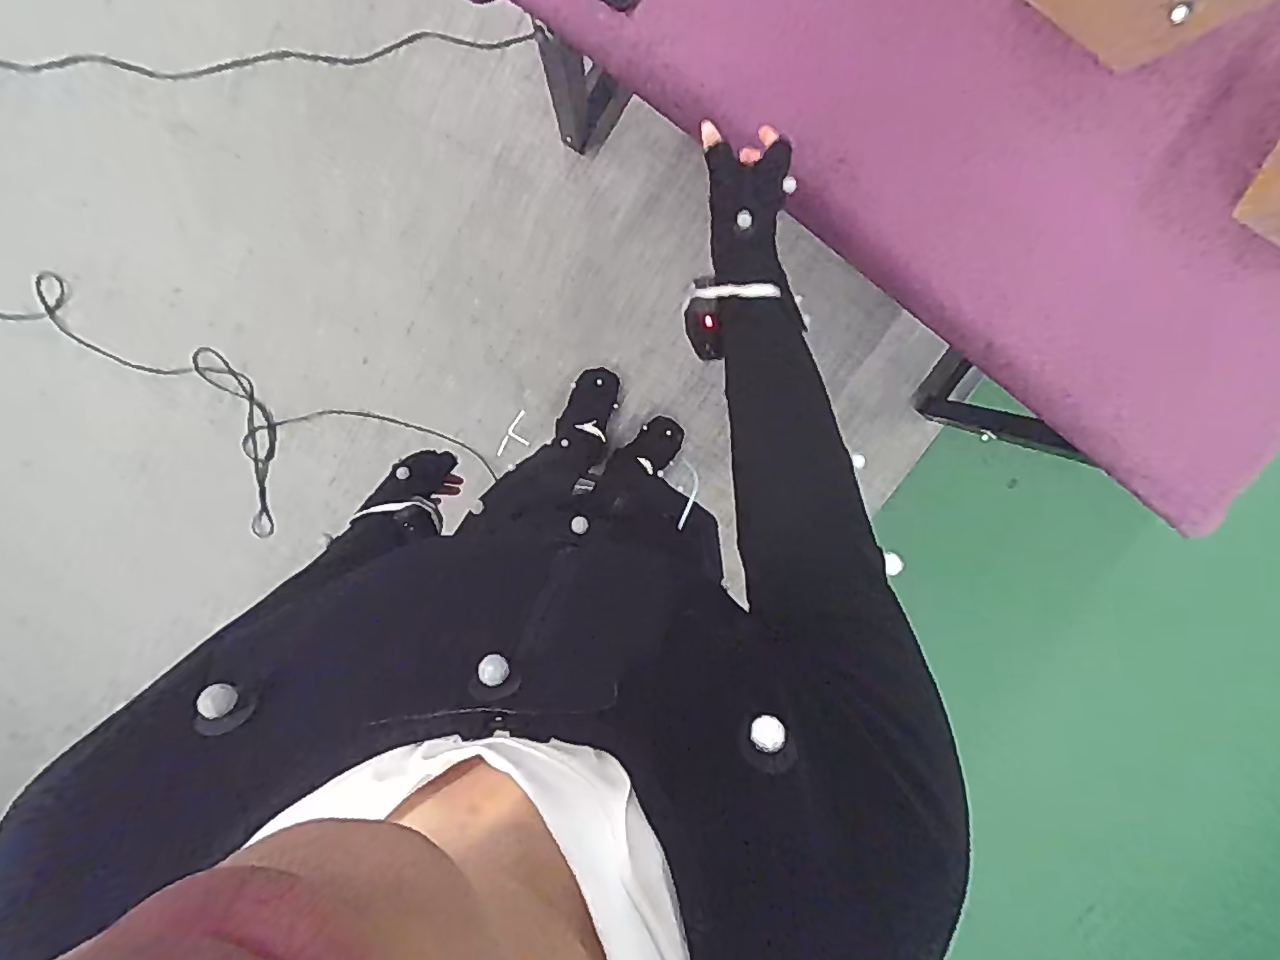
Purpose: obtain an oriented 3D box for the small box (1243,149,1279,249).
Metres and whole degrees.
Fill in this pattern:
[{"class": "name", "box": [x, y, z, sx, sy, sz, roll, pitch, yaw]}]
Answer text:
[{"class": "small box", "box": [0.850, -0.343, 0.596, 0.168, 0.176, 0.179, 23, 103, -9]}]
